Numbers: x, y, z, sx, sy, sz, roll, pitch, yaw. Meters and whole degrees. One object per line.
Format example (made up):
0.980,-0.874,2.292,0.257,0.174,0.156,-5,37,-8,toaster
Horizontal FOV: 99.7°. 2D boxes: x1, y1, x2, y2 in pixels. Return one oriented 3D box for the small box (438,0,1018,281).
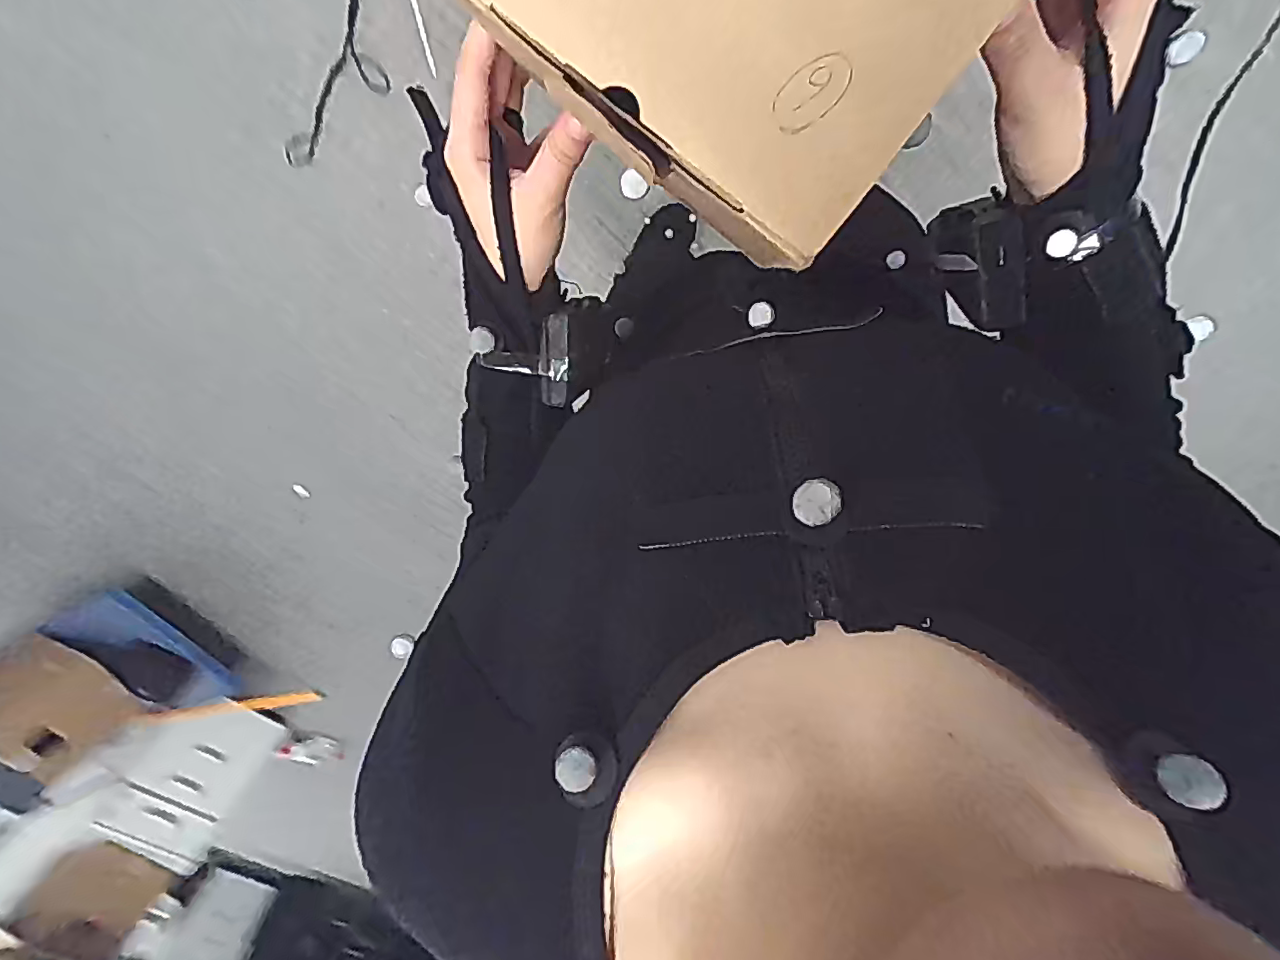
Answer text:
0.053,-0.212,0.235,0.168,0.176,0.179,36,113,-7,small box
